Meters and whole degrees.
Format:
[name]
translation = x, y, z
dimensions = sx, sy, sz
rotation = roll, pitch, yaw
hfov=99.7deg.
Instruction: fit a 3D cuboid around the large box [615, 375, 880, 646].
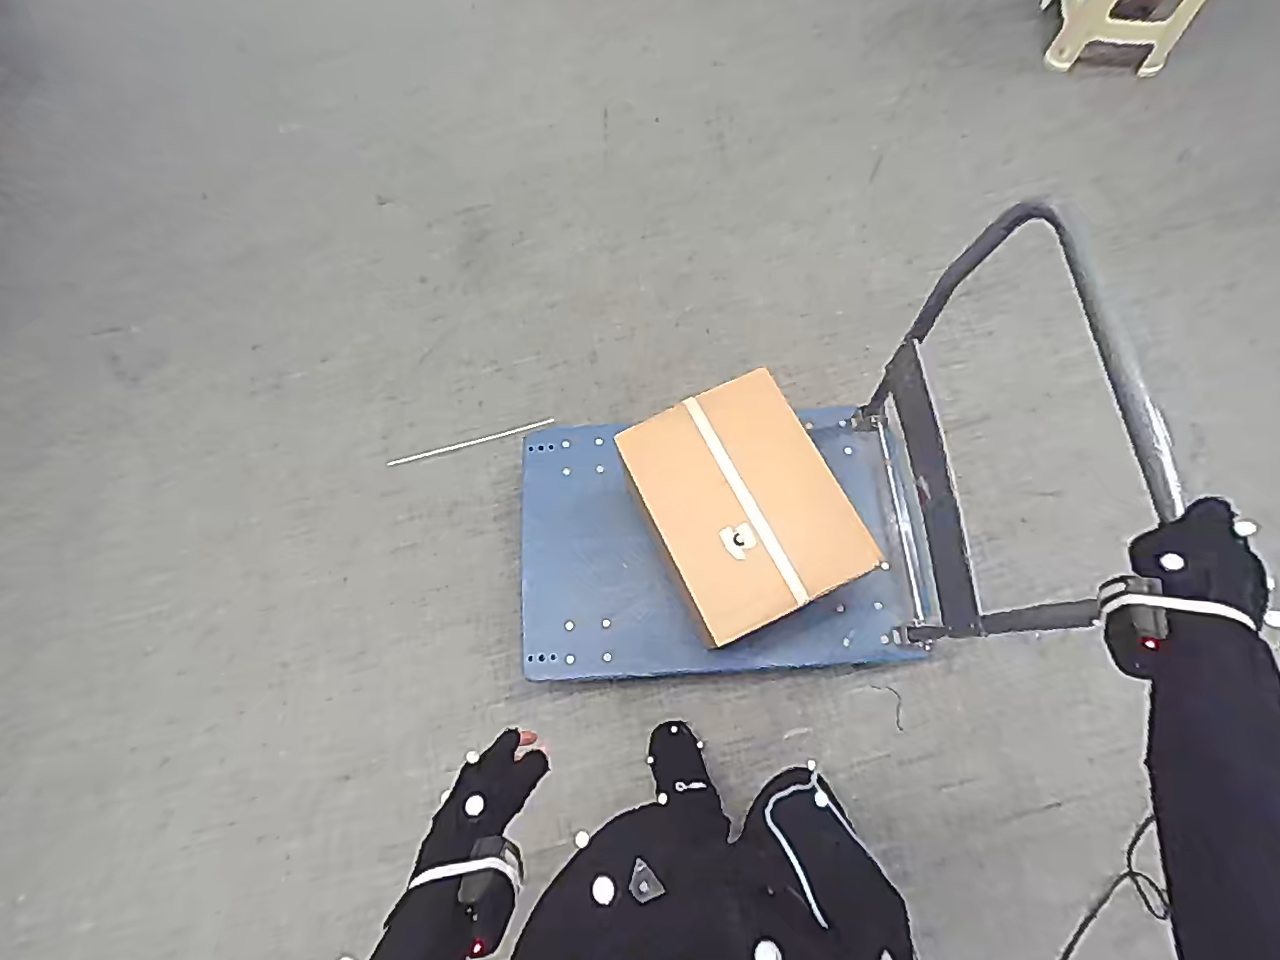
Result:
[large box]
translation = 0.181, 0.077, 1.079
dimensions = 0.320, 0.320, 0.408
rotation = -26, 73, -5
